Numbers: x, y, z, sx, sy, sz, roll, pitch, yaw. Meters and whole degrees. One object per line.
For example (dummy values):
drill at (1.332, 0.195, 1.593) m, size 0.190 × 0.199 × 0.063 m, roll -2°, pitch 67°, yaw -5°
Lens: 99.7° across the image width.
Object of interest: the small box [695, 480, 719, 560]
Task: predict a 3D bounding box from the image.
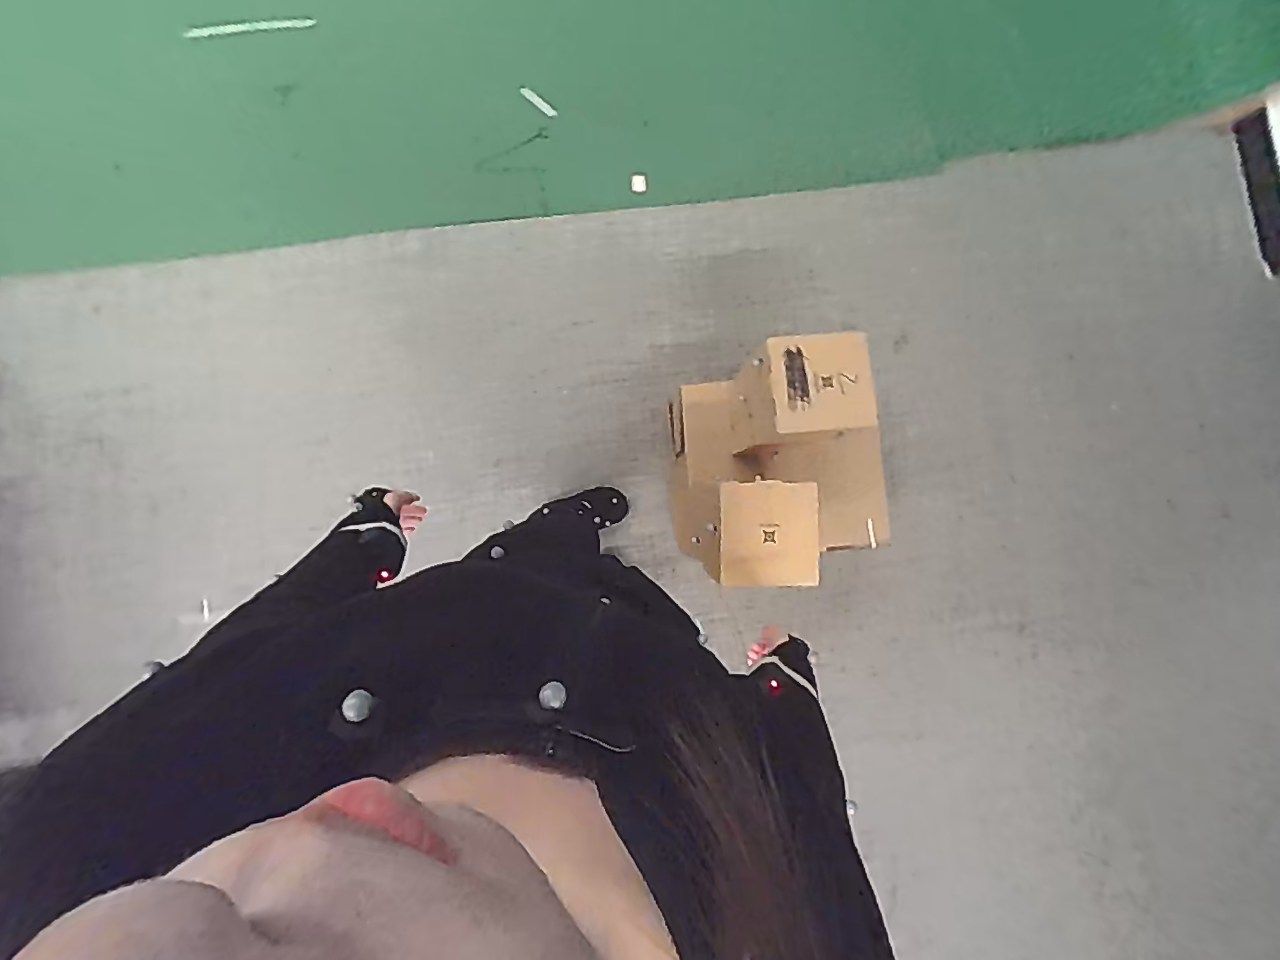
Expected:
small box at (0.211, 0.086, 1.129) m, size 0.179 × 0.176 × 0.168 m, roll 0°, pitch 89°, yaw -4°

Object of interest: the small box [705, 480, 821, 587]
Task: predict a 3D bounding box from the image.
small box at (0.212, 0.089, 0.966) m, size 0.168 × 0.176 × 0.179 m, roll 1°, pitch 88°, yaw -3°

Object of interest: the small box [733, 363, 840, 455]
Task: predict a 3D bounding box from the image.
small box at (0.303, -0.144, 1.146) m, size 0.179 × 0.176 × 0.168 m, roll 0°, pitch 86°, yaw -4°
